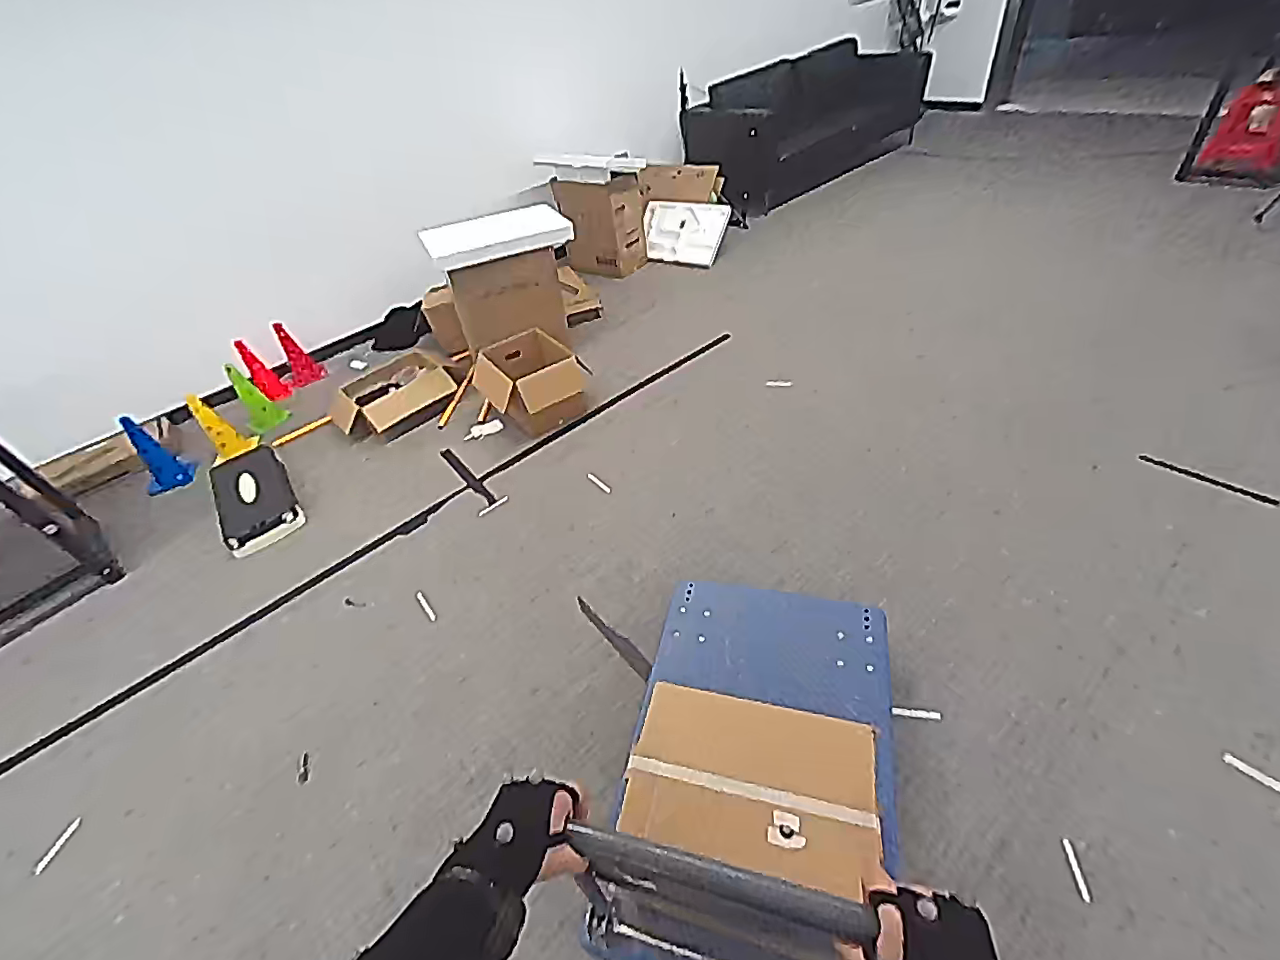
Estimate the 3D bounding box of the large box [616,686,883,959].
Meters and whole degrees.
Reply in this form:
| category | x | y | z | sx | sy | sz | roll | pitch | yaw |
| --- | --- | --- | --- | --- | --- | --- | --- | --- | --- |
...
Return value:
| category | x | y | z | sx | sy | sz | roll | pitch | yaw |
| --- | --- | --- | --- | --- | --- | --- | --- | --- | --- |
| large box | 0.202 | 0.633 | 1.009 | 0.408 | 0.320 | 0.320 | 6 | 45 | 16 |
